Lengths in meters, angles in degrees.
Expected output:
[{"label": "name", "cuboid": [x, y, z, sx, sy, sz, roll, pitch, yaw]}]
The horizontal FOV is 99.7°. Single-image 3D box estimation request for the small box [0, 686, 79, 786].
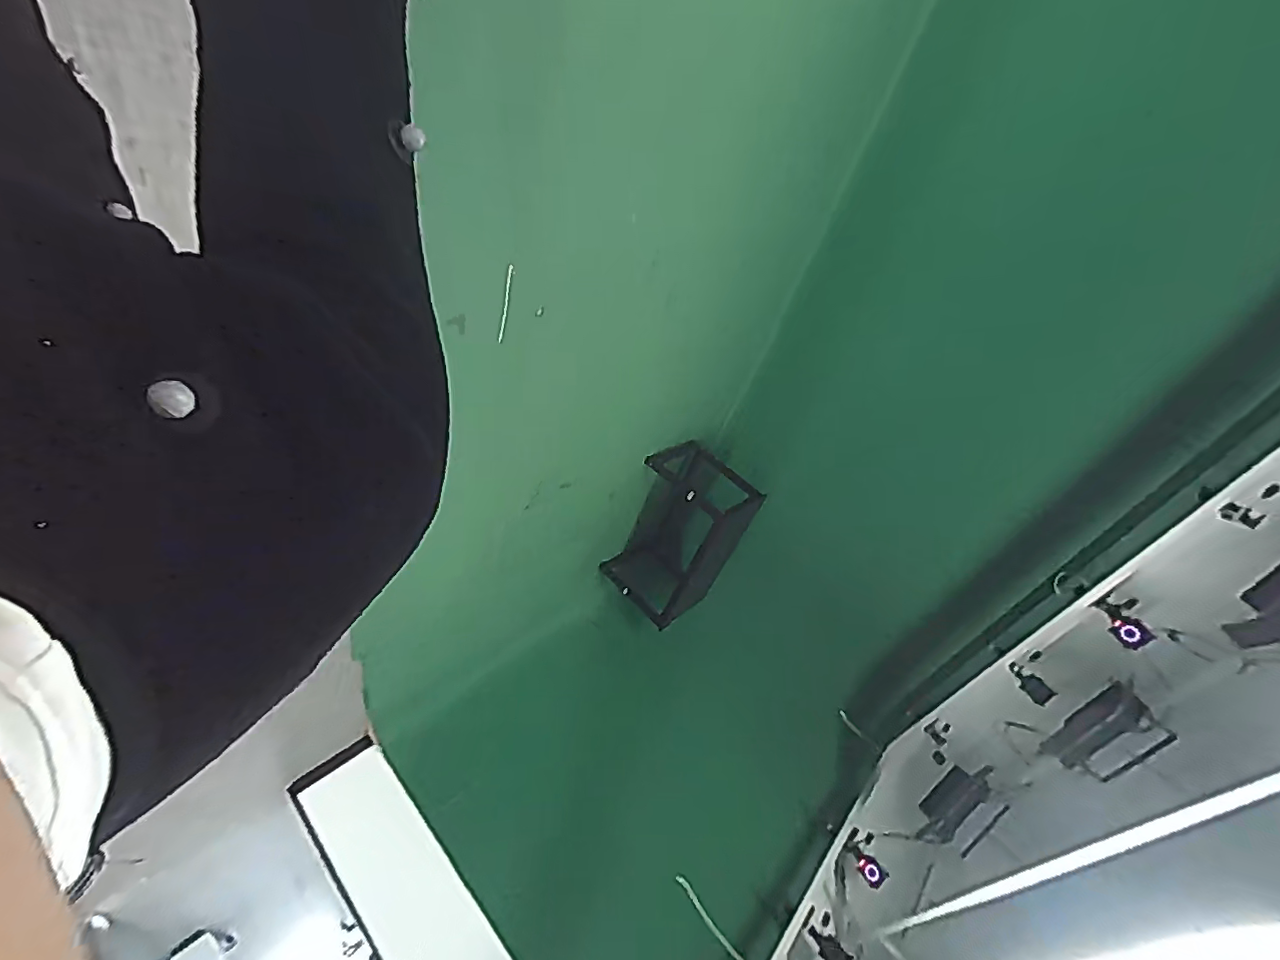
[{"label": "small box", "cuboid": [-1.842, 0.758, 1.612, 0.179, 0.176, 0.168, -28, 148, -39]}]
